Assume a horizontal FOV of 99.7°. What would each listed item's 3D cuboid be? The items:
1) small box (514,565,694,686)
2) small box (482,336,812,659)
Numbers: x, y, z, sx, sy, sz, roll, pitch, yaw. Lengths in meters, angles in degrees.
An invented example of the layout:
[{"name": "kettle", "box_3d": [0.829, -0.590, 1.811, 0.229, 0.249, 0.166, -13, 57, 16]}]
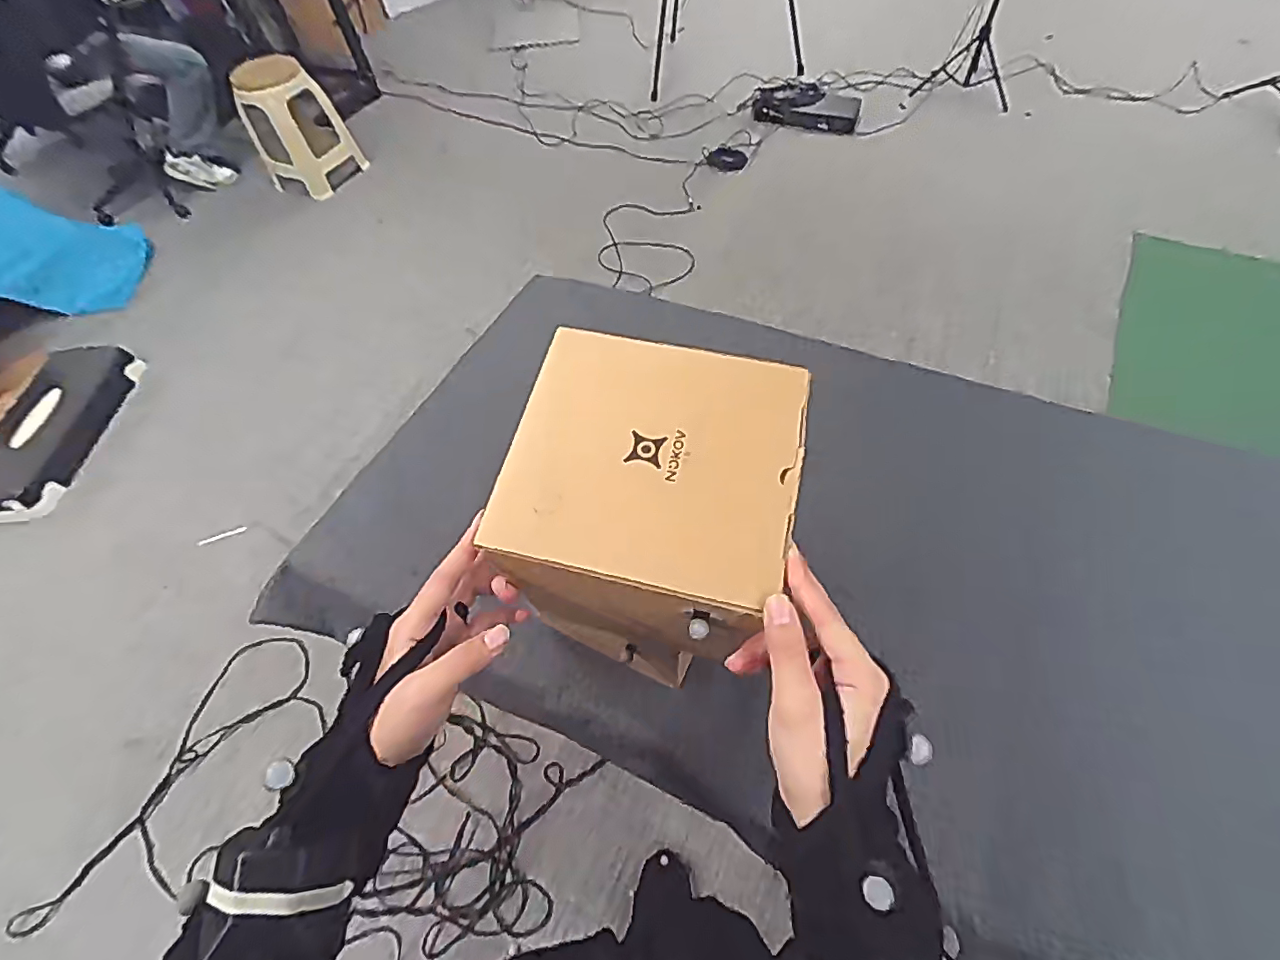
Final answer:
[{"name": "small box", "box_3d": [0.001, 0.088, 0.564, 0.168, 0.176, 0.179, 22, 60, 16]}, {"name": "small box", "box_3d": [0.013, 0.022, 0.403, 0.179, 0.176, 0.168, 12, 63, 7]}]
